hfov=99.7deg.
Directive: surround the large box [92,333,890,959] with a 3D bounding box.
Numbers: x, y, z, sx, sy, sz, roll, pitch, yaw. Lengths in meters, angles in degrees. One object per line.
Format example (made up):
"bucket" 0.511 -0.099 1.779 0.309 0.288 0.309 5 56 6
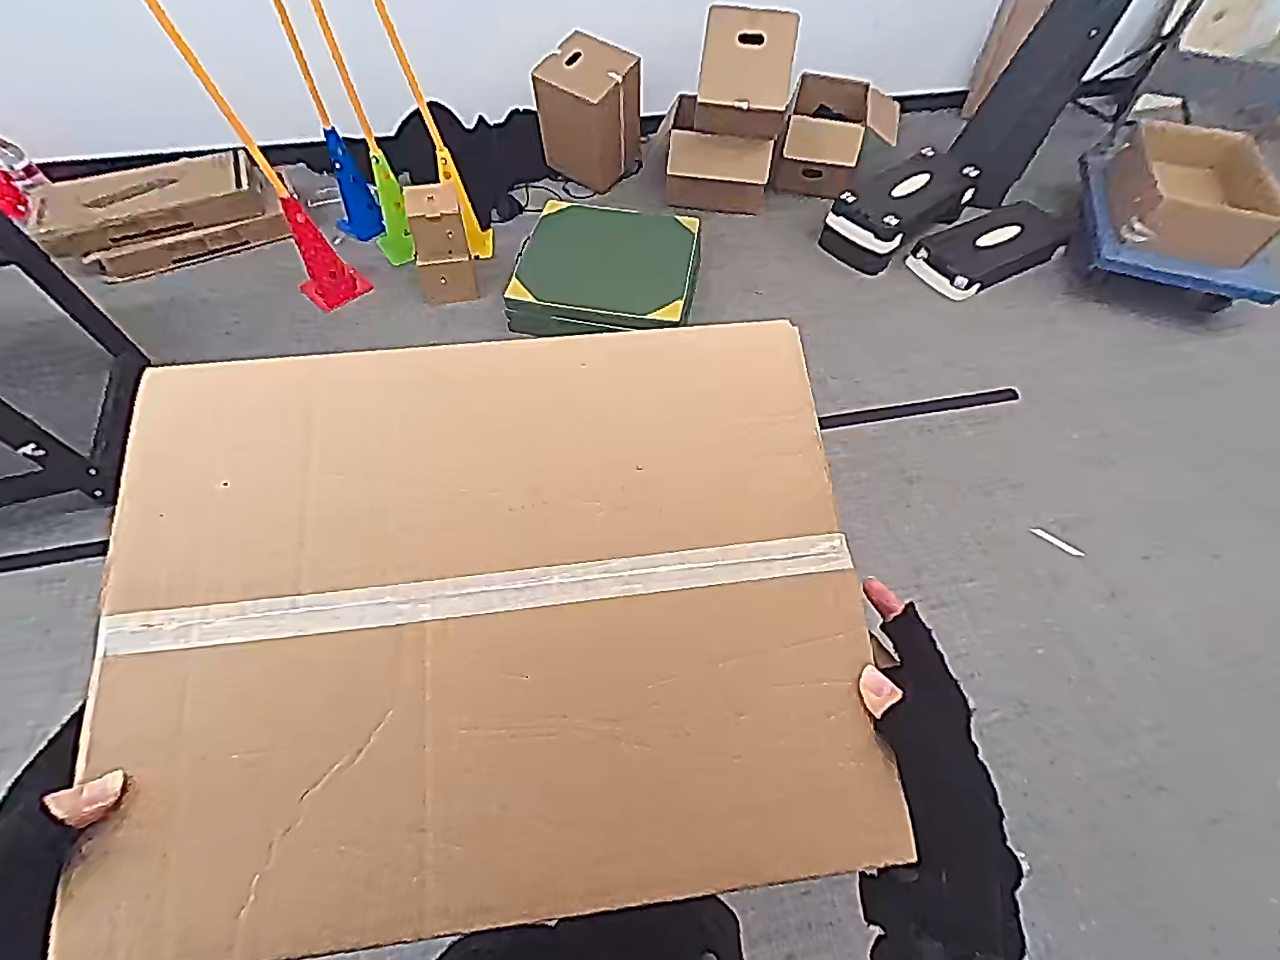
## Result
"large box" -0.086 0.109 0.451 0.408 0.320 0.320 -6 73 -4
